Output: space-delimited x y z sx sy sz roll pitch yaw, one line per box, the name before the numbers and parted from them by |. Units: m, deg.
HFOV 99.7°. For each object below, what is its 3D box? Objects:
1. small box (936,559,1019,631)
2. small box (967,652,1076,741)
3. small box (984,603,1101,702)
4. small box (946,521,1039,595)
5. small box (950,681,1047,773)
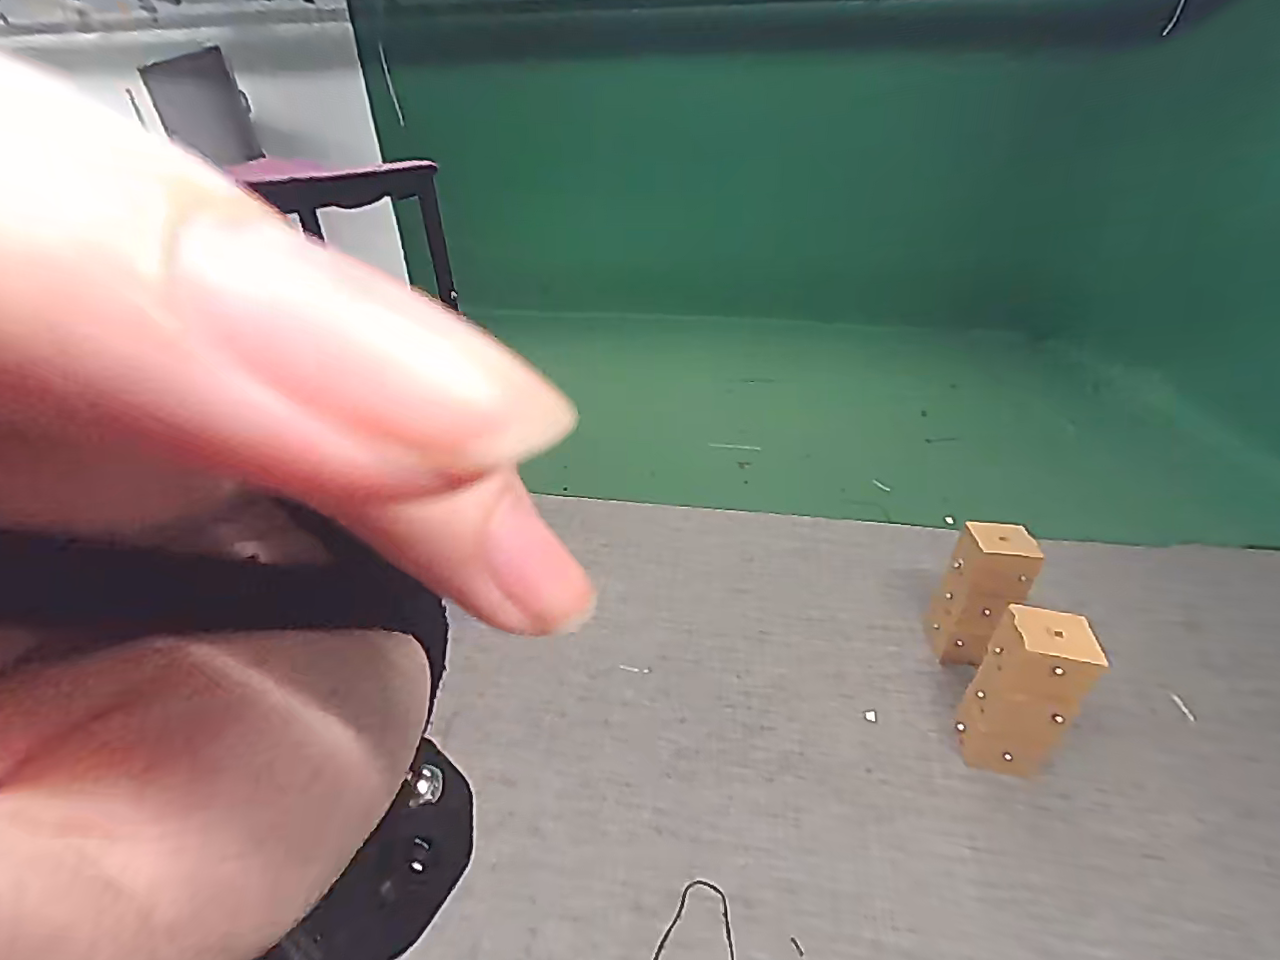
small box | 1.119 0.386 1.814 0.179 0.176 0.168 3 33 6
small box | 1.043 0.591 1.495 0.179 0.176 0.168 7 33 11
small box | 1.037 0.452 1.412 0.179 0.176 0.168 8 34 14
small box | 1.113 0.250 1.725 0.179 0.176 0.168 3 31 7
small box | 1.041 0.728 1.587 0.179 0.176 0.168 7 33 14
